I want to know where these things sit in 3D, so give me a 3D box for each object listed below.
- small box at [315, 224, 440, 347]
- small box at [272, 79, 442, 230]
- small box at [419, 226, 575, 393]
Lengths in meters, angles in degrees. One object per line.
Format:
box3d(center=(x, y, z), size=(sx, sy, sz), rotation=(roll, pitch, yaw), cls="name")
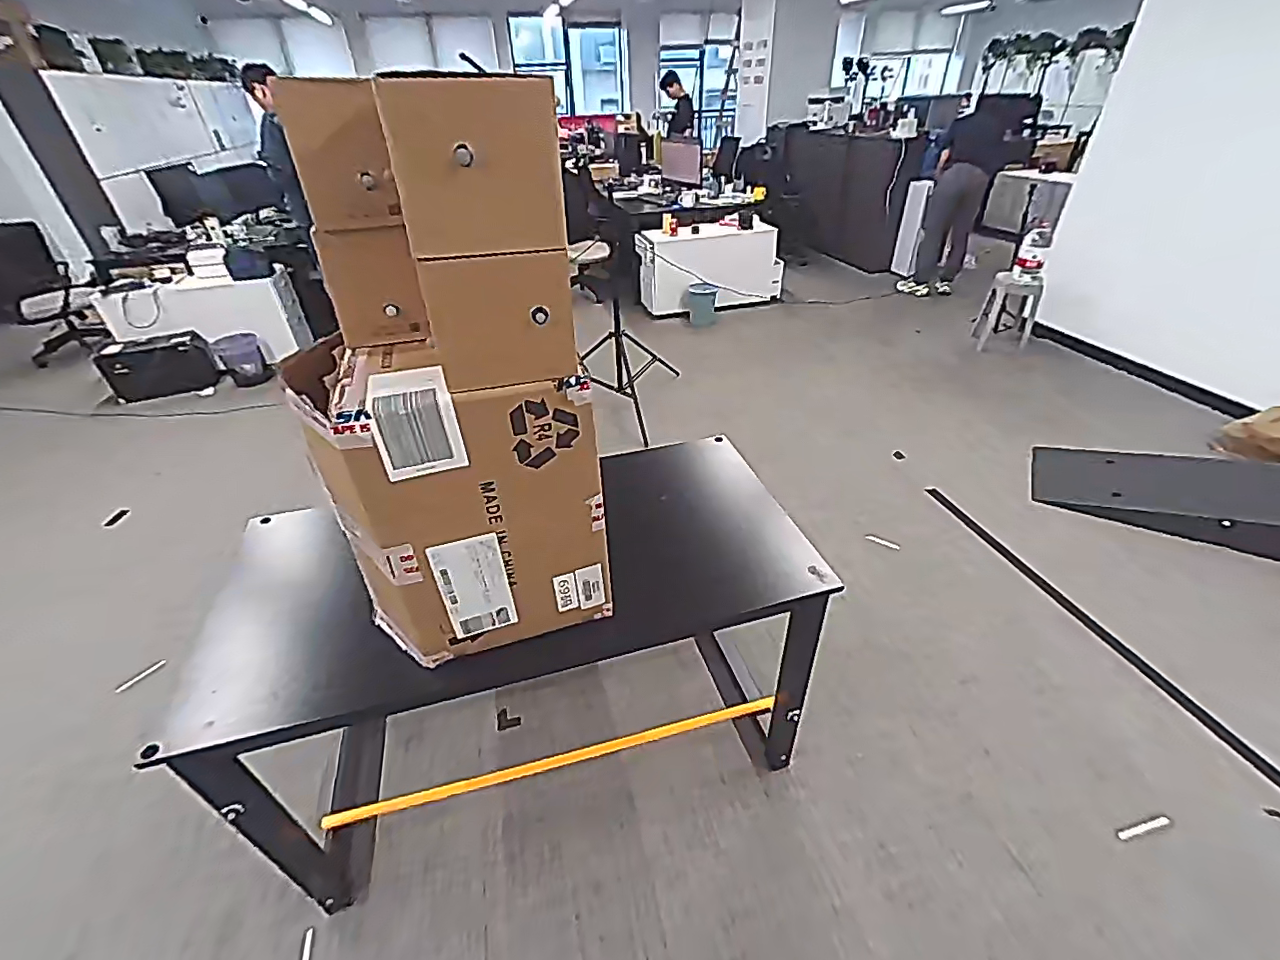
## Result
box3d(center=(-0.396, -0.326, 0.869), size=(0.168, 0.176, 0.179), rotation=(-13, 36, -17), cls="small box")
box3d(center=(-0.391, -0.461, 0.773), size=(0.168, 0.176, 0.179), rotation=(-14, 36, -18), cls="small box")
box3d(center=(-0.189, -0.236, 0.740), size=(0.179, 0.176, 0.168), rotation=(-12, 36, -13), cls="small box")
